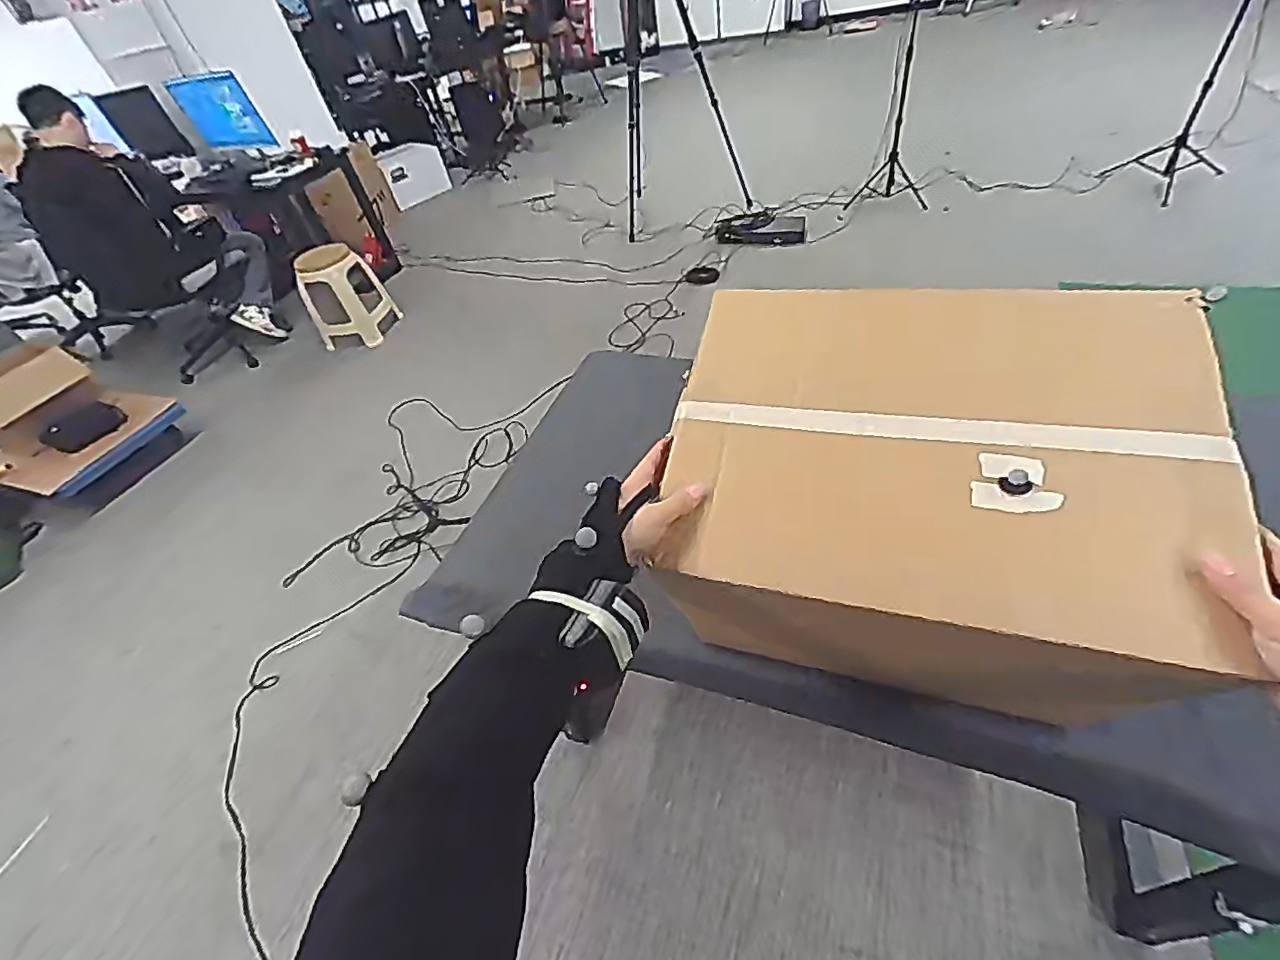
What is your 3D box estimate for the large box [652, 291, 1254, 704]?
[{"bbox_3d":[0.262,0.022,0.583,0.408,0.320,0.320,7,65,19],"label":"large box"}]
